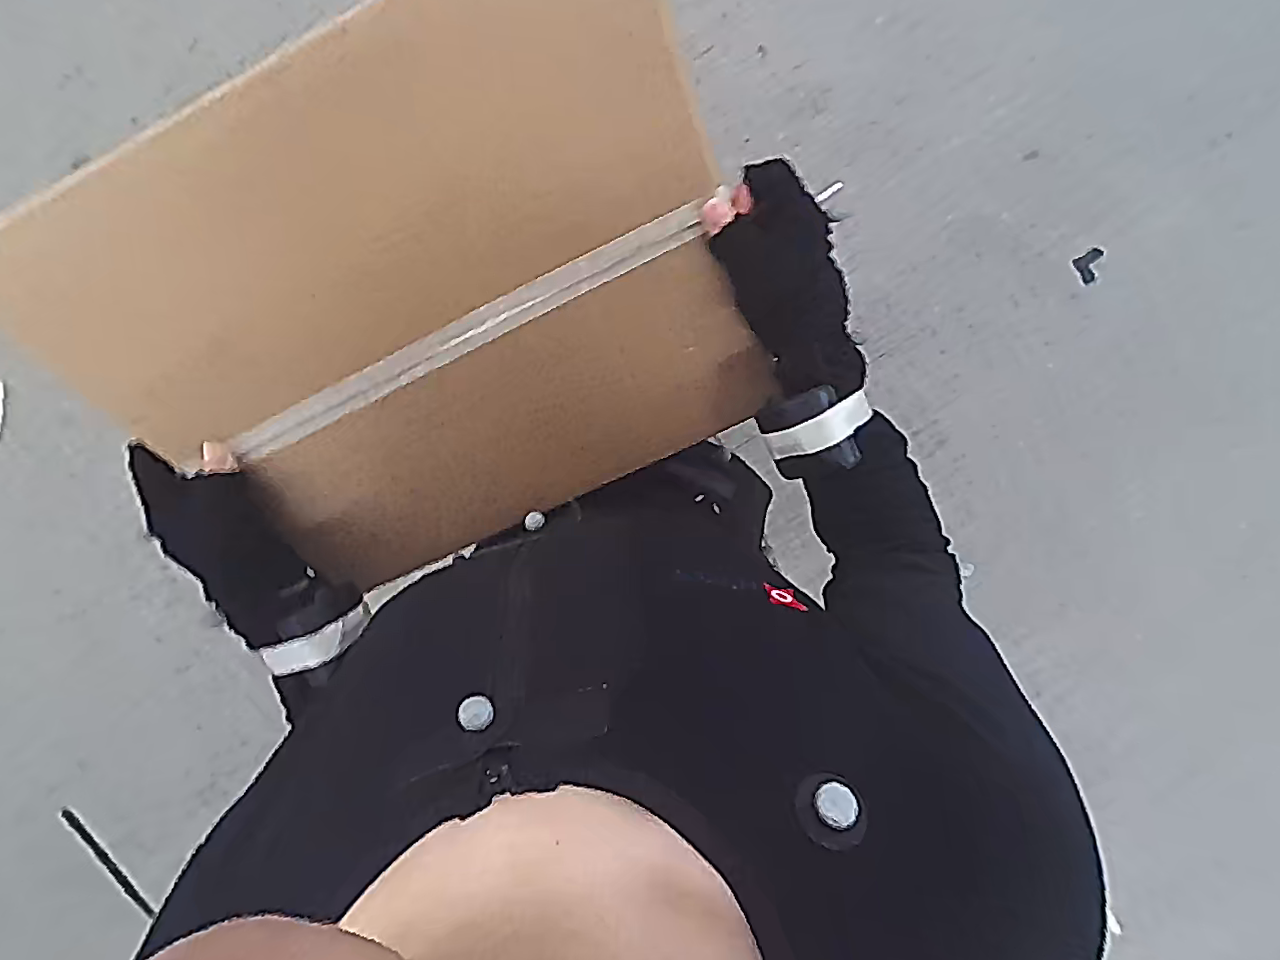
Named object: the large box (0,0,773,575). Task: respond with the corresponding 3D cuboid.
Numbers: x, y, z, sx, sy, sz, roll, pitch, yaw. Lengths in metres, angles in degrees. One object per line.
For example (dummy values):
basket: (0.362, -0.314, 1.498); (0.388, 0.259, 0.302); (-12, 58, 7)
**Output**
large box: (-0.155, -0.188, 0.482); (0.408, 0.320, 0.320); (-24, 129, 7)
